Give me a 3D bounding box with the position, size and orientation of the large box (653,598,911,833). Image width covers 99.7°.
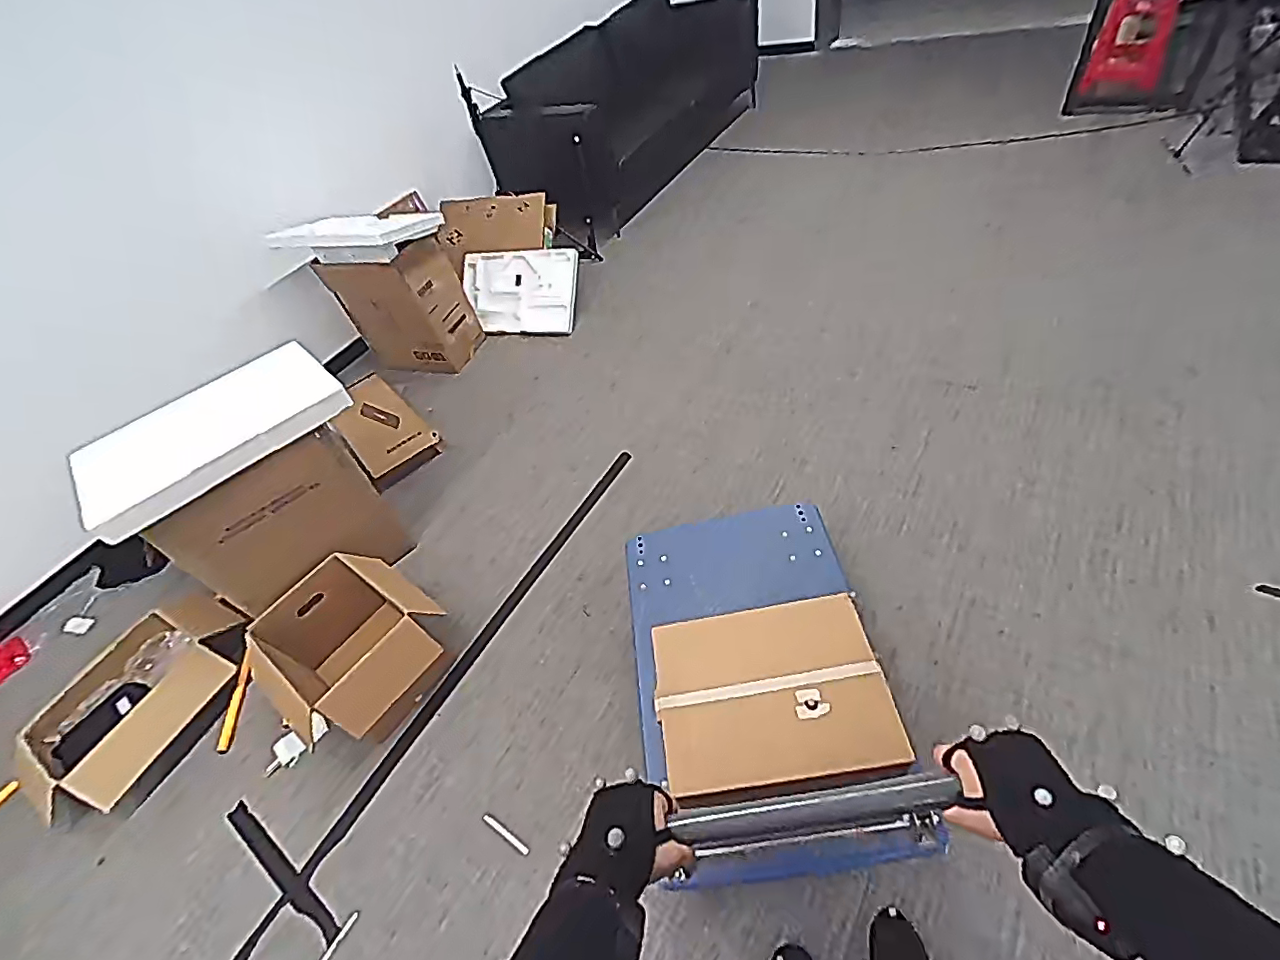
[{"bbox_3d":[0.260,0.483,1.098,0.408,0.320,0.320,-11,48,4],"label":"large box"}]
